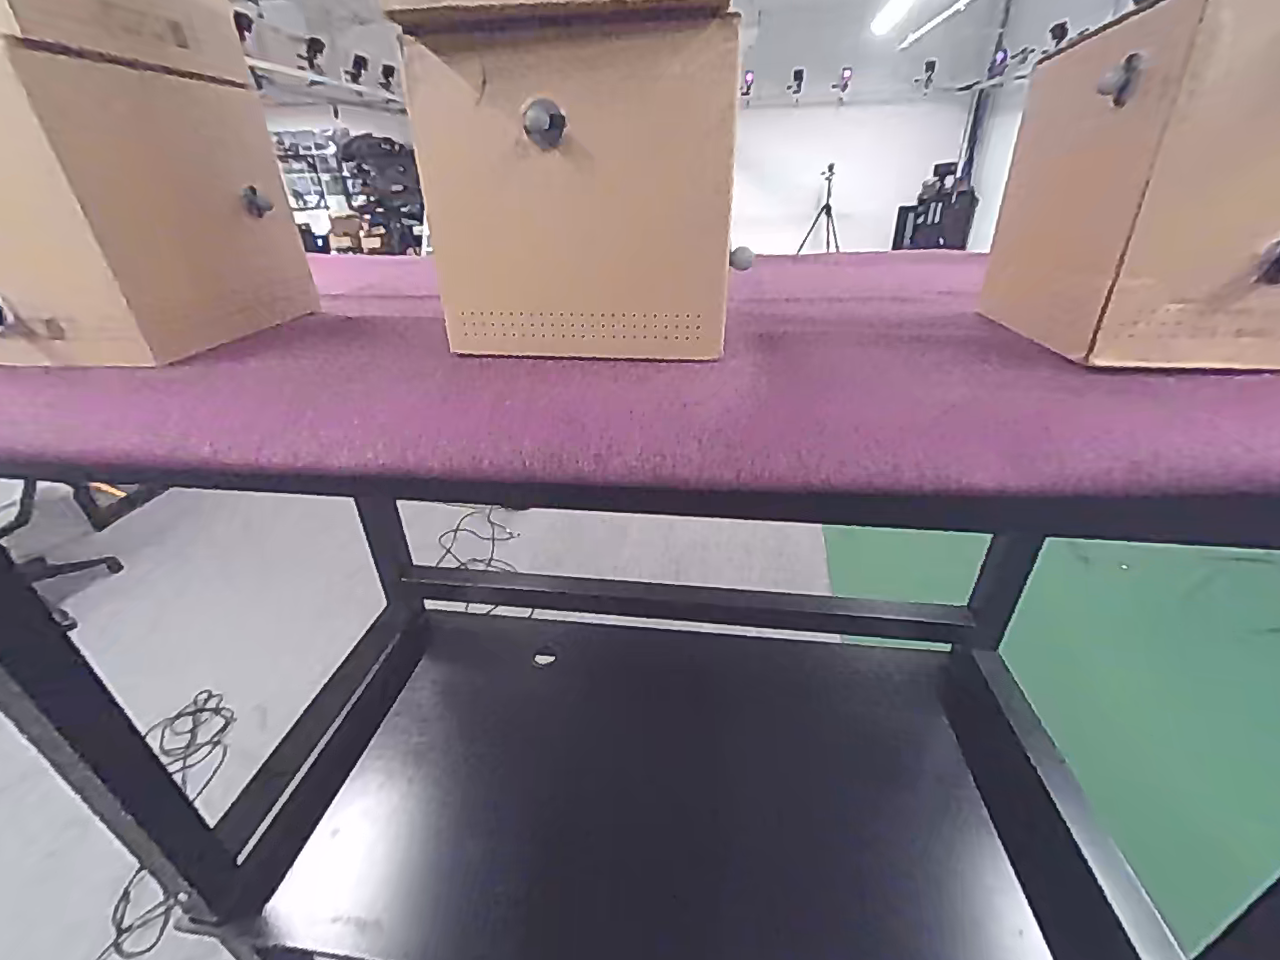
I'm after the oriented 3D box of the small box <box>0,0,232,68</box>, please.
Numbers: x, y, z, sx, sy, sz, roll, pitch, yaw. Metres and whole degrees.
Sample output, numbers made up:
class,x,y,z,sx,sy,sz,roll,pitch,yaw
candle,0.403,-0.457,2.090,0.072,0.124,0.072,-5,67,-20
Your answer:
class,x,y,z,sx,sy,sz,roll,pitch,yaw
small box,-0.389,-0.335,0.298,0.179,0.176,0.168,0,30,4

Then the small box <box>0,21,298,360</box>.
class,x,y,z,sx,sy,sz,roll,pitch,yaw
small box,-0.379,-0.191,0.377,0.168,0.176,0.179,0,30,5

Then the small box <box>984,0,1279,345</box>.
class,x,y,z,sx,sy,sz,roll,pitch,yaw
small box,0.327,-0.177,0.307,0.168,0.176,0.179,3,28,11

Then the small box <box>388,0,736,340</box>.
class,x,y,z,sx,sy,sz,roll,pitch,yaw
small box,-0.028,-0.195,0.362,0.179,0.176,0.168,3,29,8
